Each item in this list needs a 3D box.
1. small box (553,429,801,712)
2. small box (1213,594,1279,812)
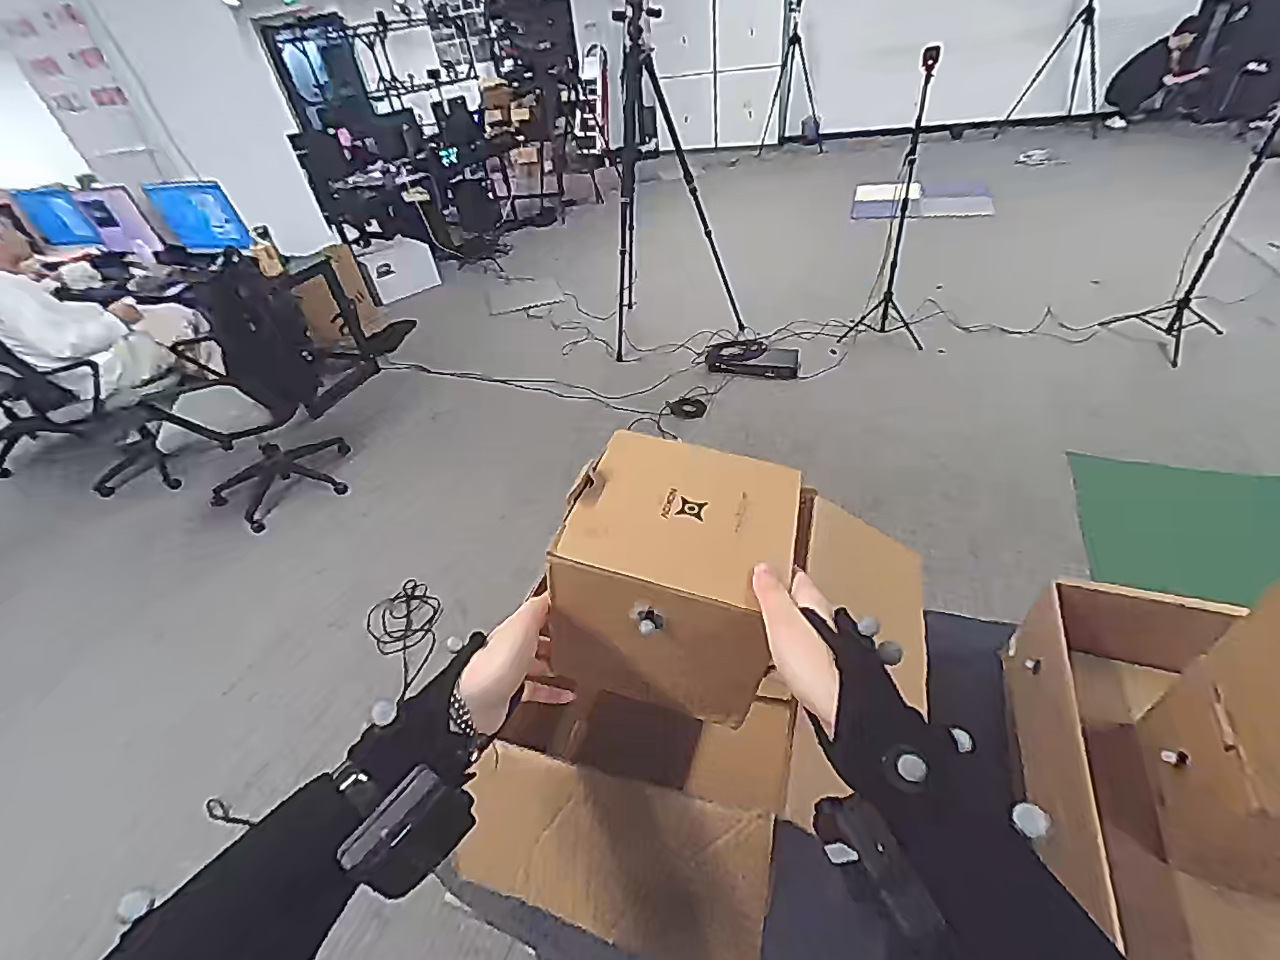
[{"bbox_3d":[0.033,0.081,0.493,0.179,0.176,0.168,15,42,9],"label":"small box"},{"bbox_3d":[0.637,0.190,0.442,0.168,0.176,0.179,10,45,22],"label":"small box"}]
